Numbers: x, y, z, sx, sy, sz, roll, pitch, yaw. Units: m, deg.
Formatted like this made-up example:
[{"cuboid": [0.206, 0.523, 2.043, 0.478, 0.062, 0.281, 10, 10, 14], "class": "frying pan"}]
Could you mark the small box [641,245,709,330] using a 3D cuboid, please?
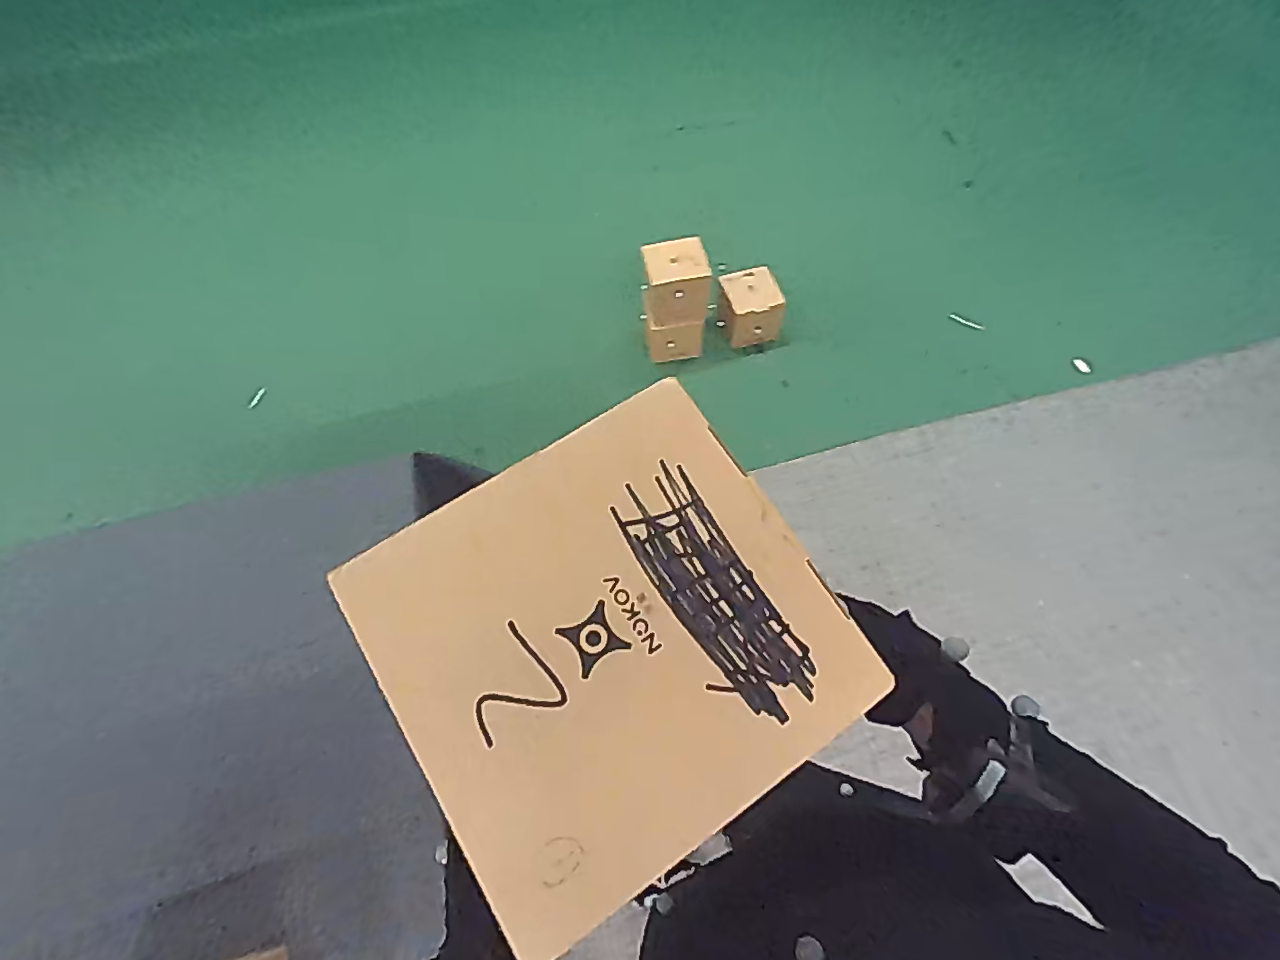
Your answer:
[{"cuboid": [0.105, -0.581, 1.648, 0.179, 0.176, 0.168, -10, 62, -3], "class": "small box"}]

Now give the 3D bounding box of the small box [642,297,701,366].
[{"cuboid": [0.104, -0.494, 1.789, 0.168, 0.176, 0.179, -9, 62, -3], "class": "small box"}]
